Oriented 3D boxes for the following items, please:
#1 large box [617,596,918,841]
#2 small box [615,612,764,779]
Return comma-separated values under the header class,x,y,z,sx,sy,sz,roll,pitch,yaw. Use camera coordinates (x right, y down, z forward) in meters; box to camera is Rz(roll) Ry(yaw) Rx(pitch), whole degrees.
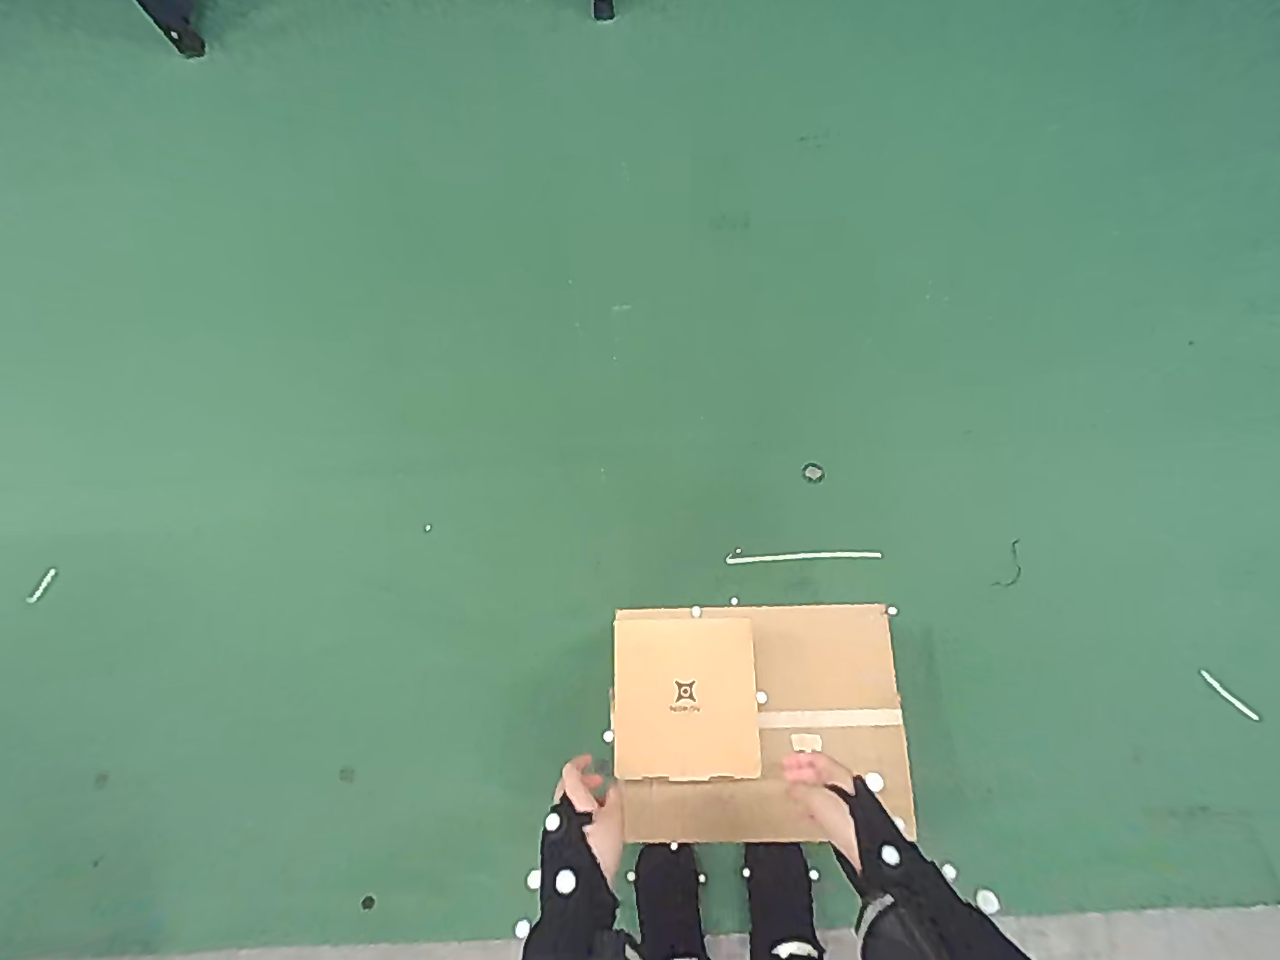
class,x,y,z,sx,sy,sz,roll,pitch,yaw
large box,0.173,0.367,0.906,0.408,0.320,0.320,-2,76,1
small box,0.055,0.262,0.687,0.168,0.176,0.179,-2,75,2
